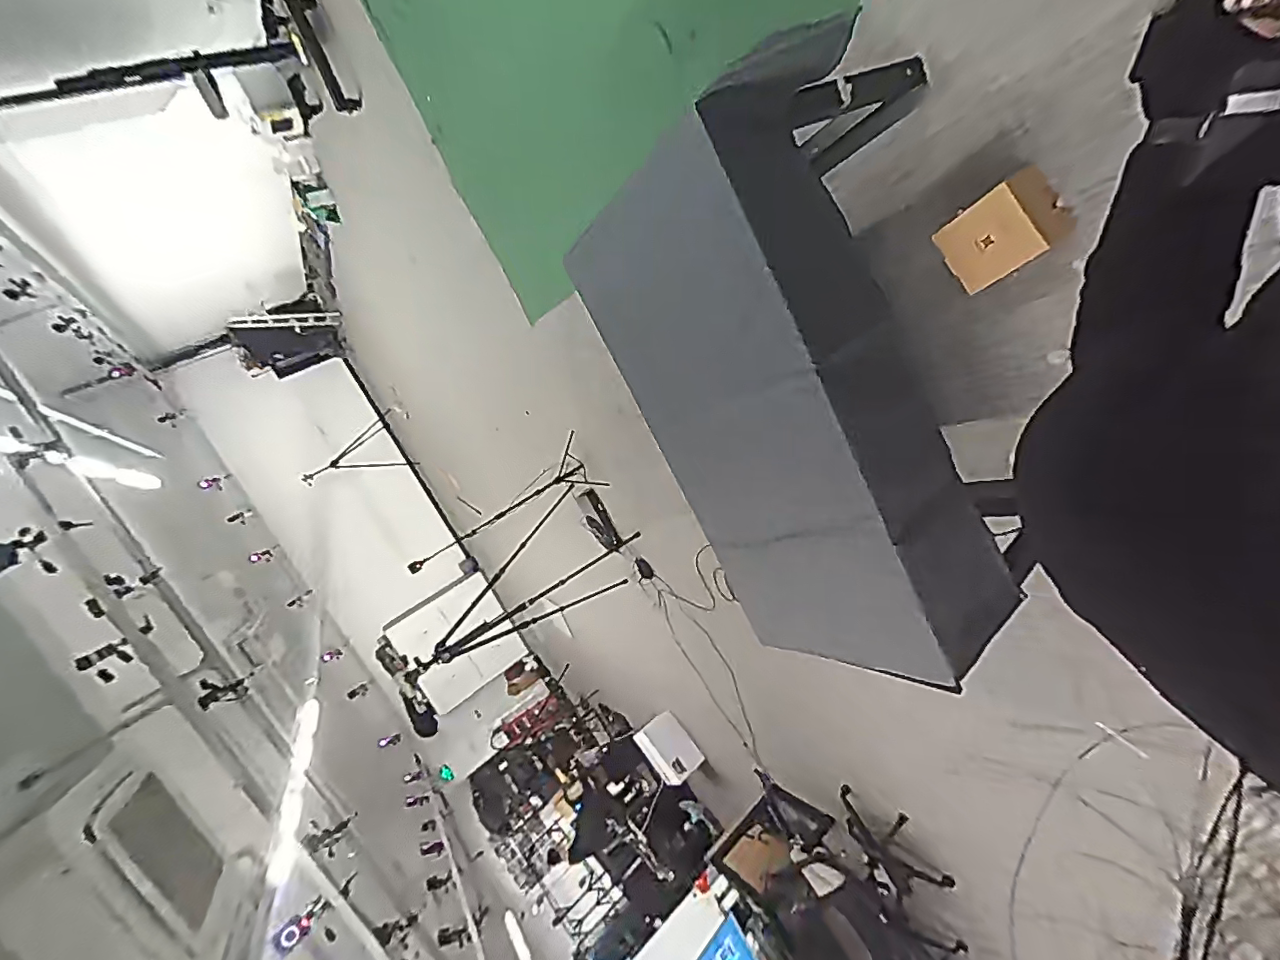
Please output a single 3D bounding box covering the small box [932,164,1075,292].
[{"bbox_3d":[0.803,-0.555,1.197,0.168,0.176,0.179,55,154,0],"label":"small box"}]
